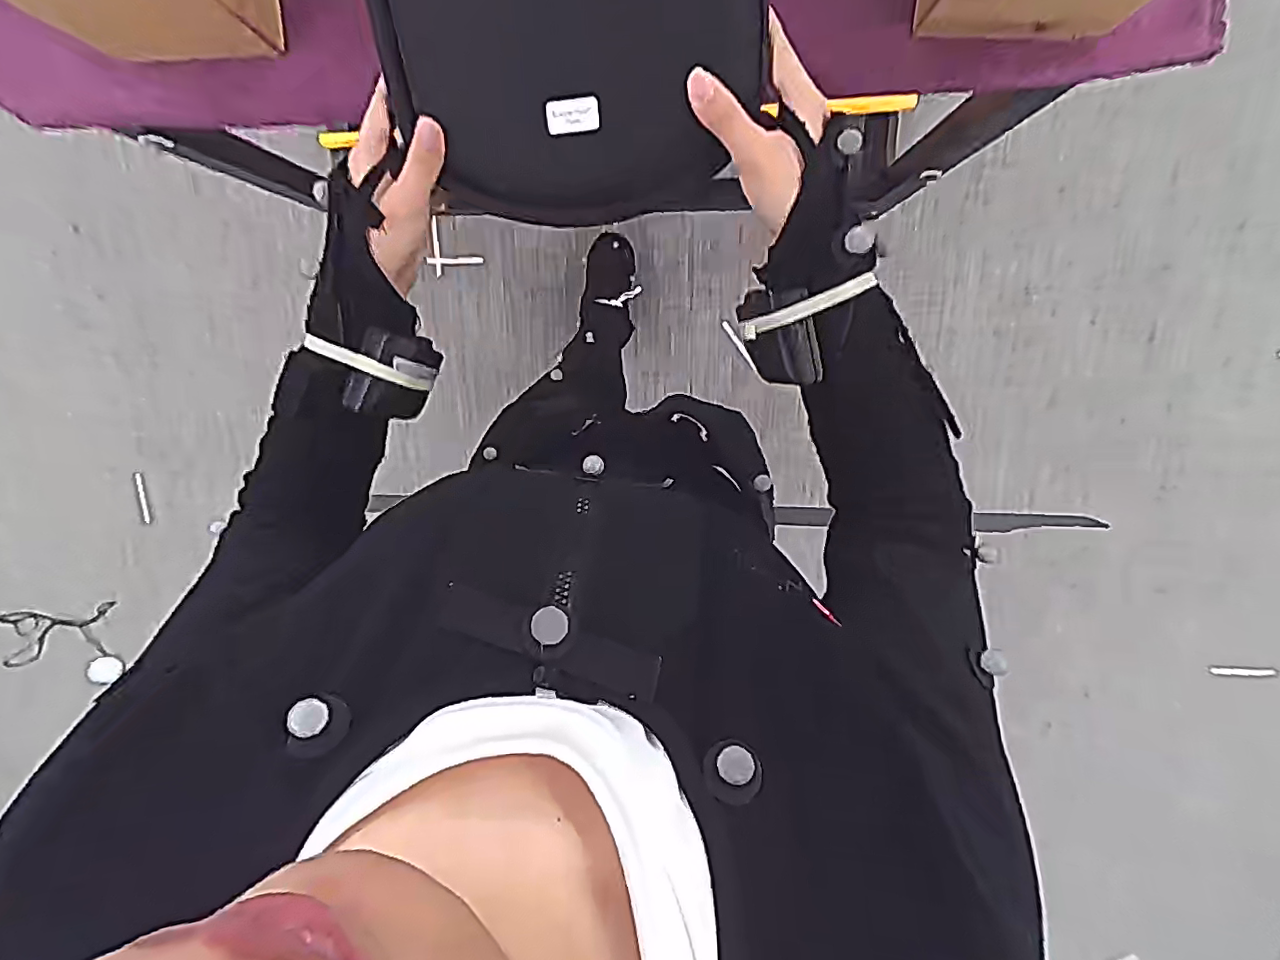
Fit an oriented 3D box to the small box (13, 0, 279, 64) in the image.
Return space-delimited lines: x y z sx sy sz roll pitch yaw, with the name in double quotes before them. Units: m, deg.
"small box" -0.447 -0.479 0.447 0.179 0.176 0.168 -1 102 3
